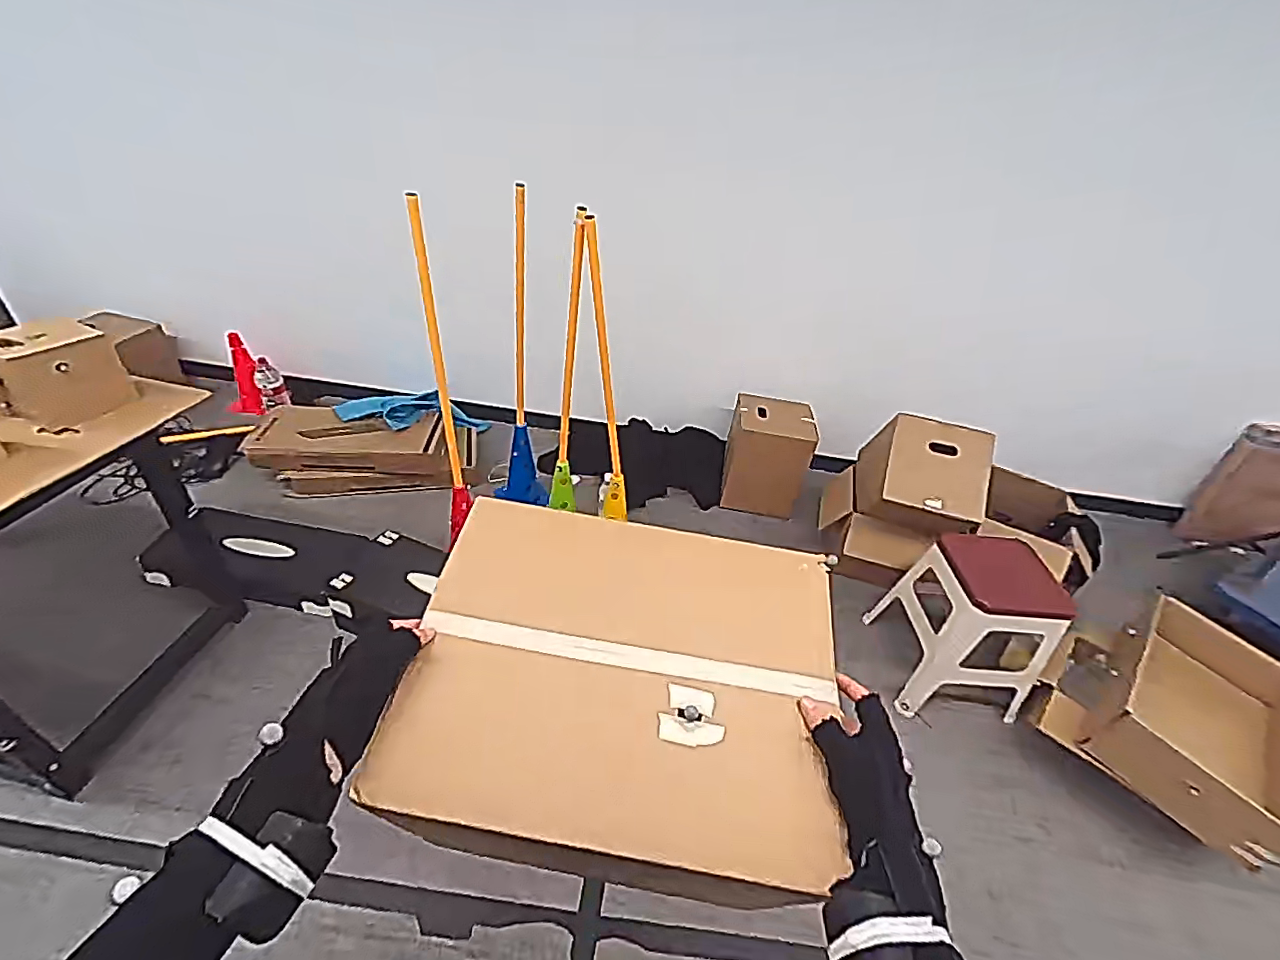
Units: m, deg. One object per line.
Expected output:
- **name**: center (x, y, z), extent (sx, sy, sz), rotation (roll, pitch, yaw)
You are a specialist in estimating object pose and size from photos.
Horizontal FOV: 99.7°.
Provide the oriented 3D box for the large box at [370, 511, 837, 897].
- **large box**: center (-0.026, 0.275, 0.654), extent (0.408, 0.320, 0.320), rotation (10, 51, 2)
